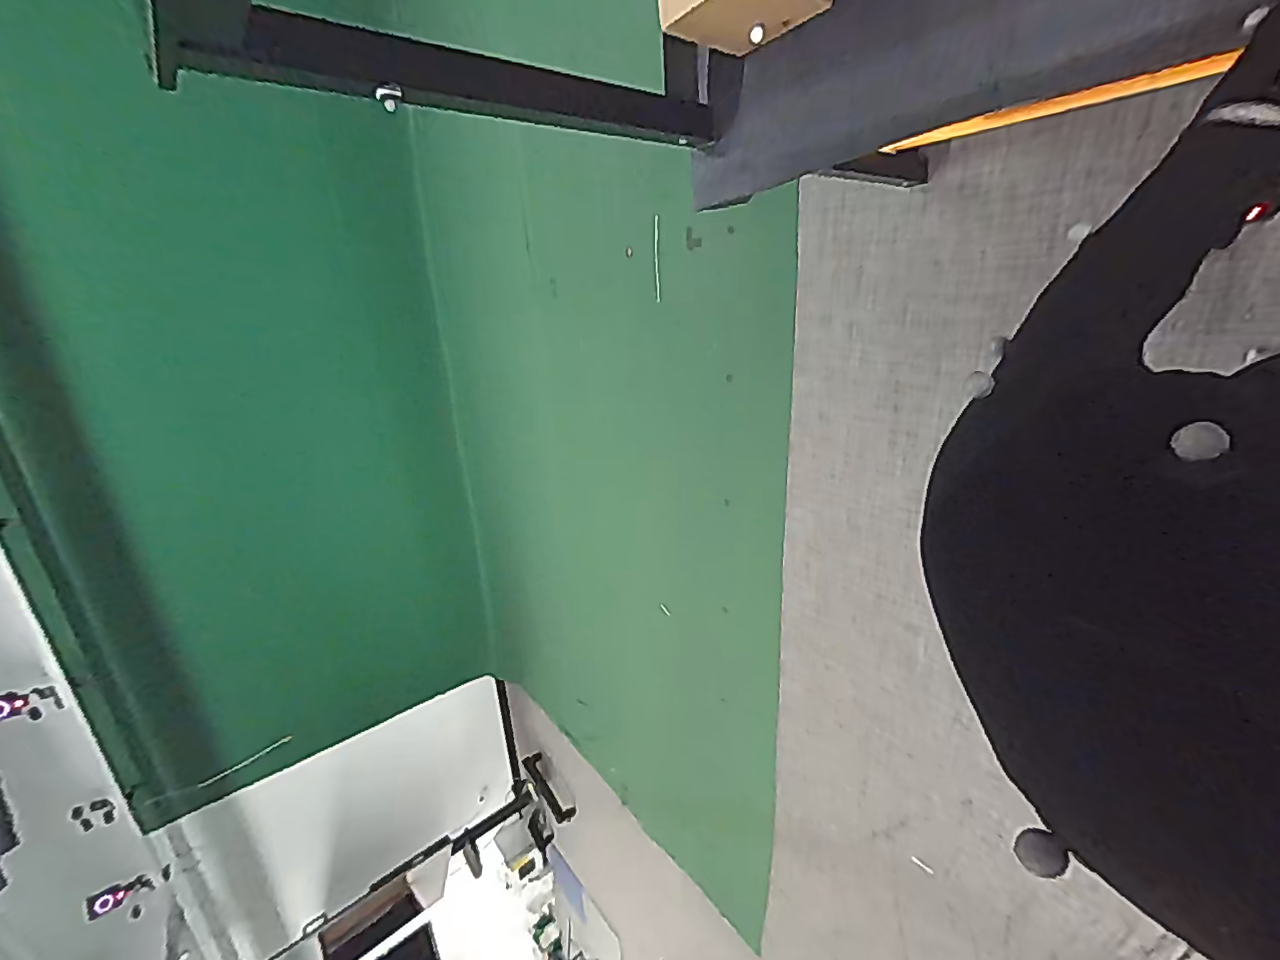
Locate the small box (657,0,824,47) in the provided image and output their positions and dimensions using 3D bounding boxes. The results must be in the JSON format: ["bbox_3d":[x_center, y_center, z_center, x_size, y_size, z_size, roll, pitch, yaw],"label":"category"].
[{"bbox_3d":[0.134,-0.714,0.704,0.168,0.176,0.179,16,117,50],"label":"small box"}]
